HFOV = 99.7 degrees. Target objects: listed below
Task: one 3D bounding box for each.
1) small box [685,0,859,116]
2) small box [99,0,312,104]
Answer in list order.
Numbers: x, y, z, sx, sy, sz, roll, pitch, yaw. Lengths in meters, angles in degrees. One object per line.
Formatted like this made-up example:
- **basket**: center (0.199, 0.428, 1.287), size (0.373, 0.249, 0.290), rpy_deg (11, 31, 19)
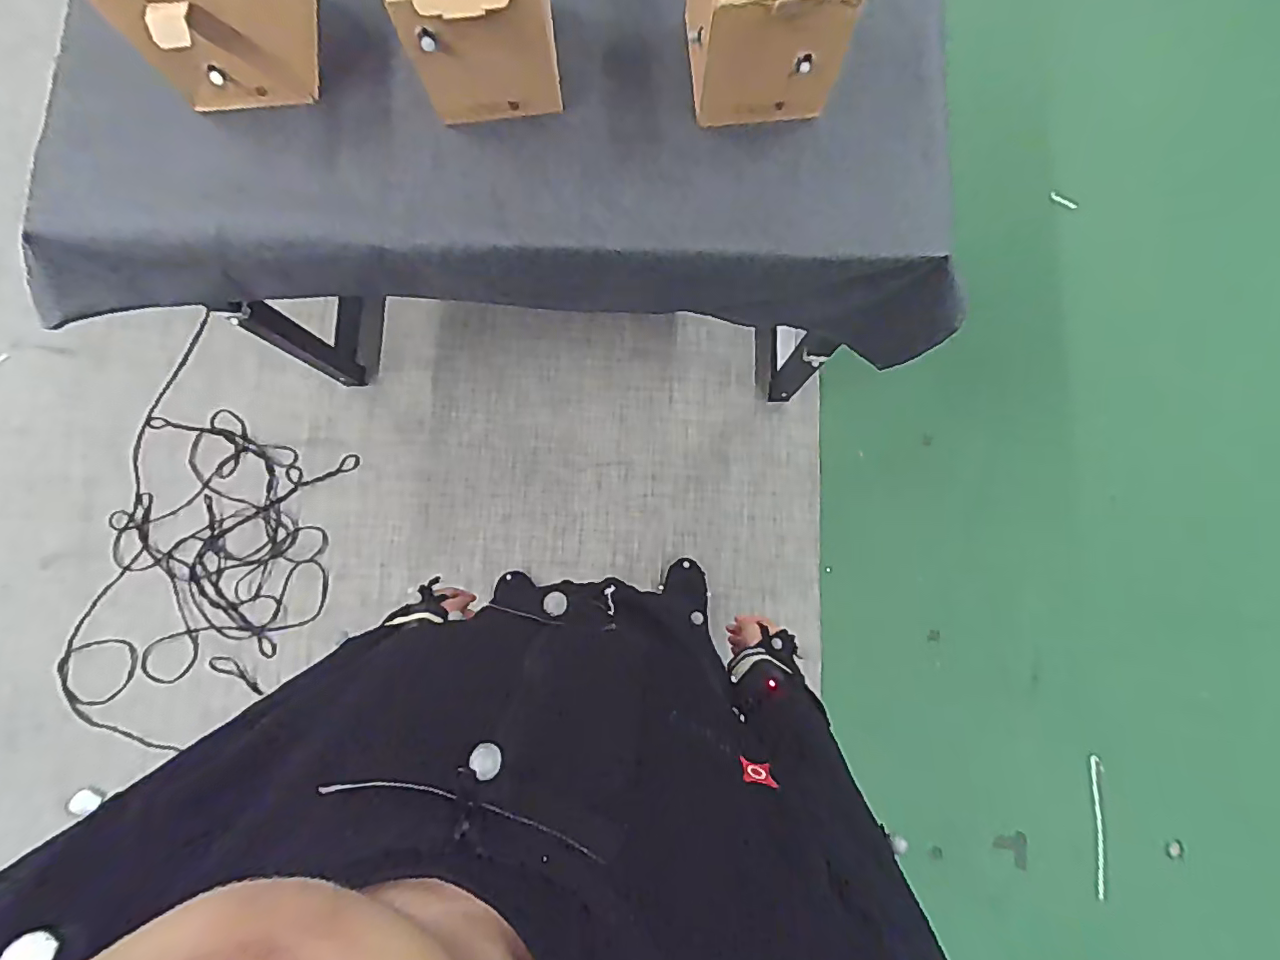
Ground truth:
- **small box**: center (0.150, -0.574, 0.652), size (0.168, 0.176, 0.179), rpy_deg (-5, 81, -2)
- **small box**: center (-0.523, -0.599, 0.650), size (0.168, 0.176, 0.179), rpy_deg (-5, 83, -2)
